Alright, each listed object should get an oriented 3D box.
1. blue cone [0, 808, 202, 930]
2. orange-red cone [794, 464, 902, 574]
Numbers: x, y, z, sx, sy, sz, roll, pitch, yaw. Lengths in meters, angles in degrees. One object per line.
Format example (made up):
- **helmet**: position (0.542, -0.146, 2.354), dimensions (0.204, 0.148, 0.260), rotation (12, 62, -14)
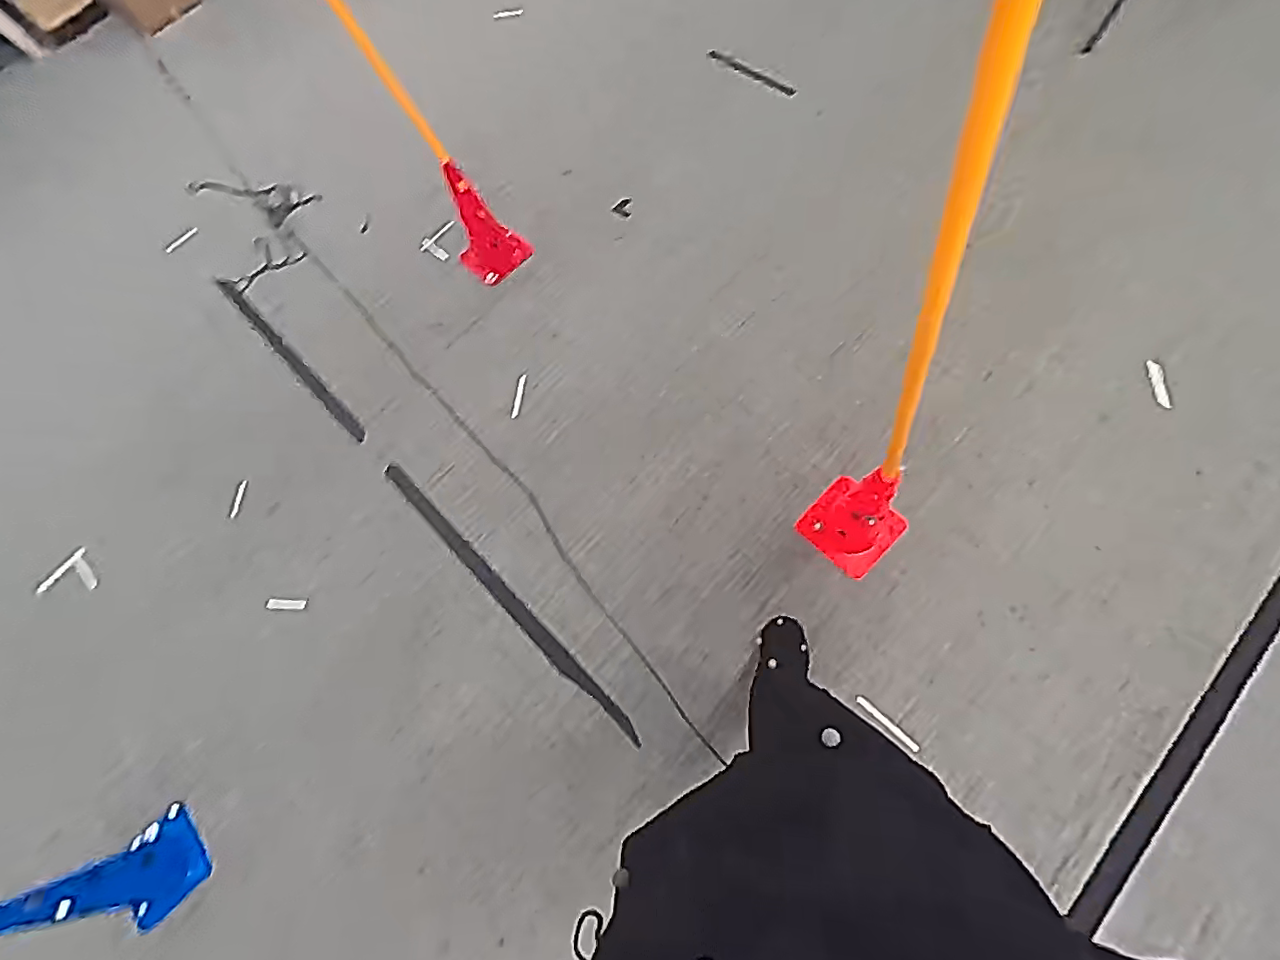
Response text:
- **blue cone**: position (-1.174, 0.867, 1.139), dimensions (0.193, 0.380, 0.192), rotation (-43, 69, -8)
- **orange-red cone**: position (0.480, 0.046, 1.155), dimensions (0.198, 0.360, 0.199), rotation (-43, 70, -8)
